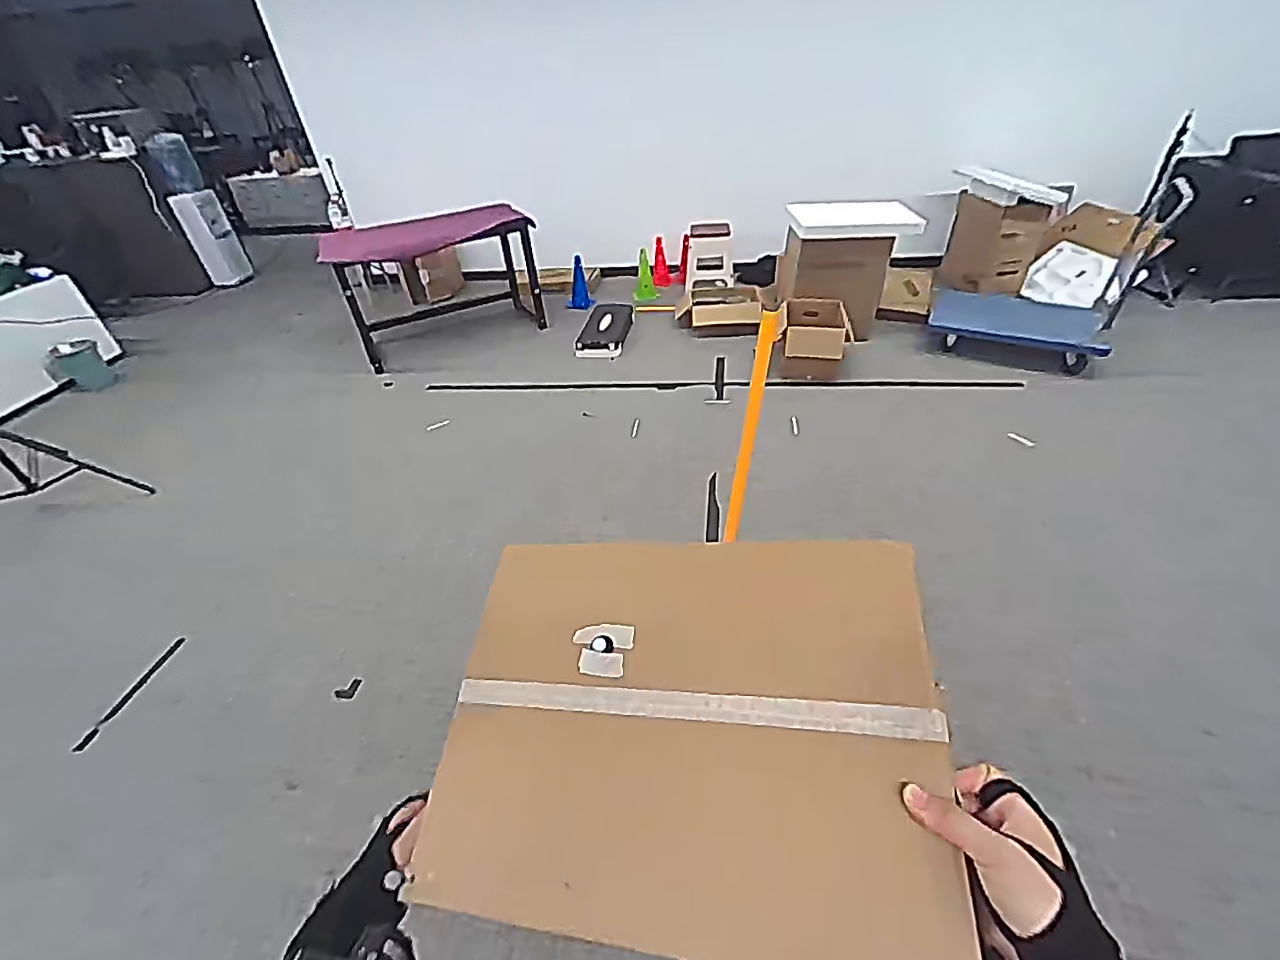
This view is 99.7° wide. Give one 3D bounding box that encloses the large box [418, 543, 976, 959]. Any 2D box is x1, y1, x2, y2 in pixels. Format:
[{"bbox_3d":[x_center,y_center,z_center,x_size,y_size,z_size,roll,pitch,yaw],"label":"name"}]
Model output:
[{"bbox_3d":[0.070,0.282,0.571,0.408,0.320,0.320,-4,52,17],"label":"large box"}]
